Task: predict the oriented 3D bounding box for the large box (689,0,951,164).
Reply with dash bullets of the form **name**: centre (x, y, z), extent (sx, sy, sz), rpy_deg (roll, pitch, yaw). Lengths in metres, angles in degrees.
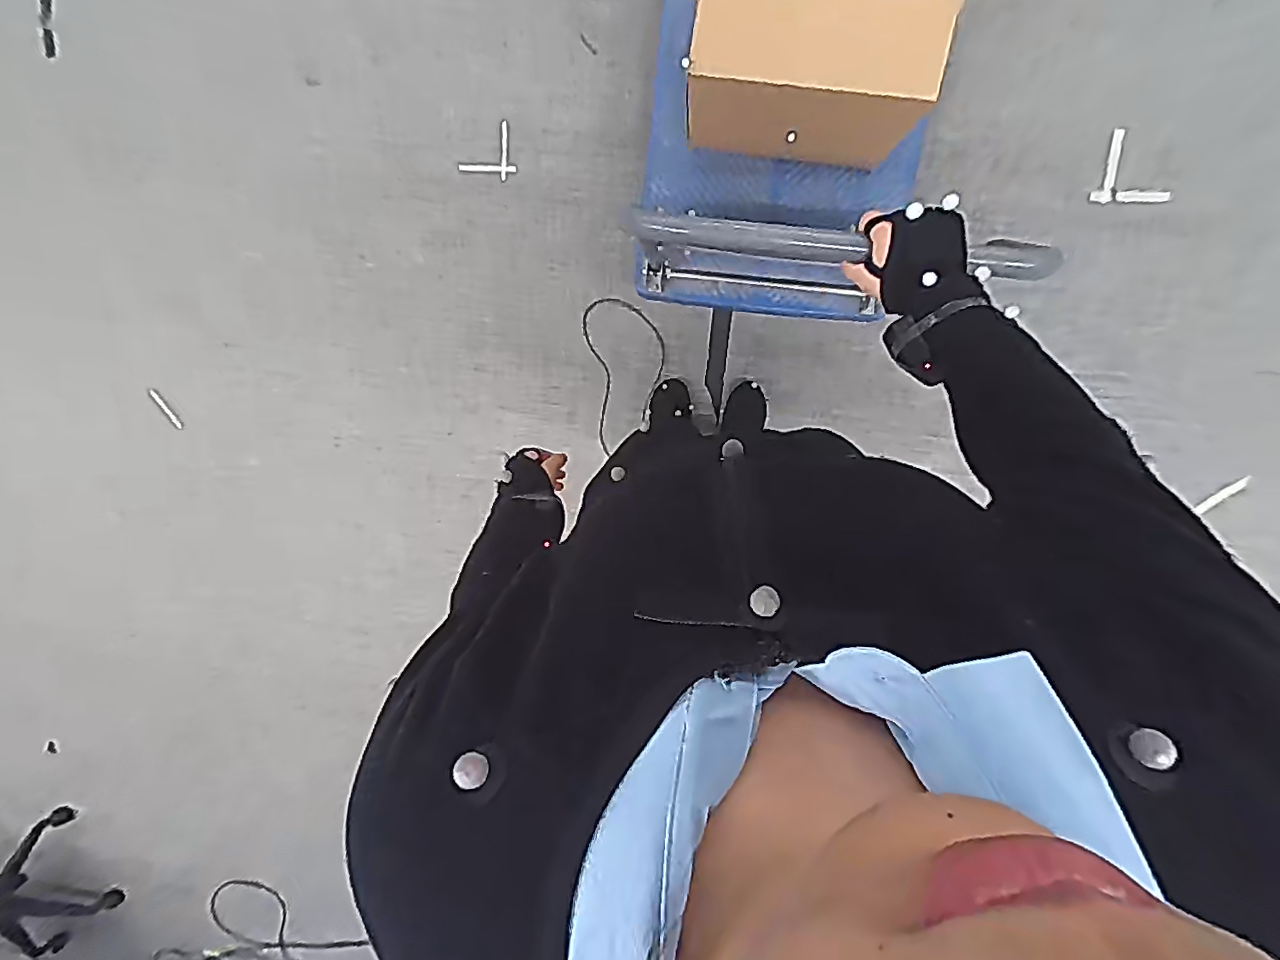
- **large box**: centre (0.314, -0.821, 1.005), extent (0.408, 0.320, 0.320), rpy_deg (9, 101, 4)
